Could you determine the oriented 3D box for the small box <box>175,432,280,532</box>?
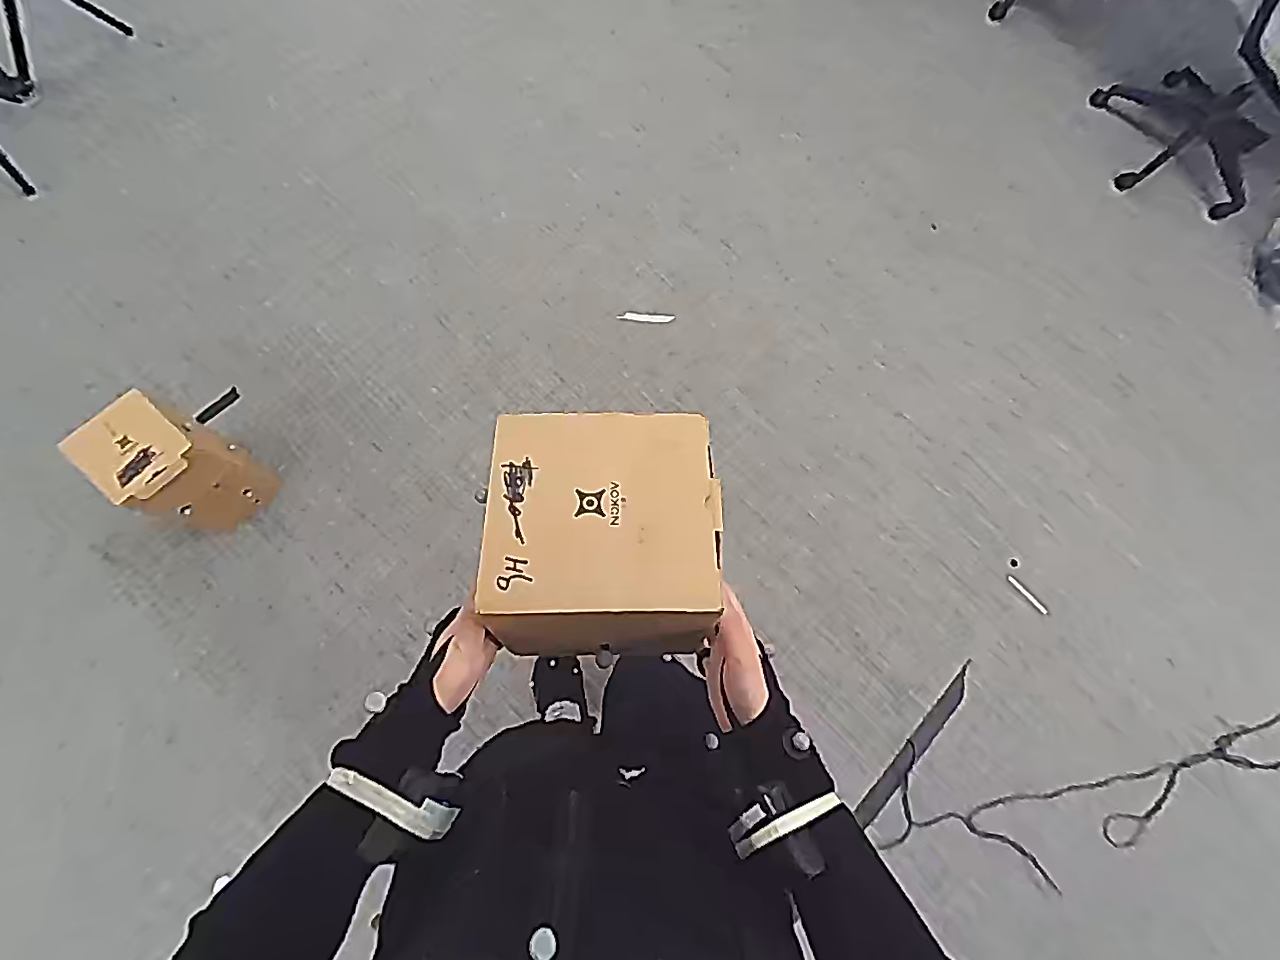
[{"bbox_3d":[-0.993,0.004,1.256,0.179,0.176,0.168,40,74,5],"label":"small box"}]

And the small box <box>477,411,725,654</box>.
[{"bbox_3d":[-0.031,0.055,0.482,0.179,0.176,0.168,1,62,-3],"label":"small box"}]

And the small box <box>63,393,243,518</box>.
[{"bbox_3d":[-0.970,-0.039,1.099,0.179,0.176,0.168,41,75,5],"label":"small box"}]
